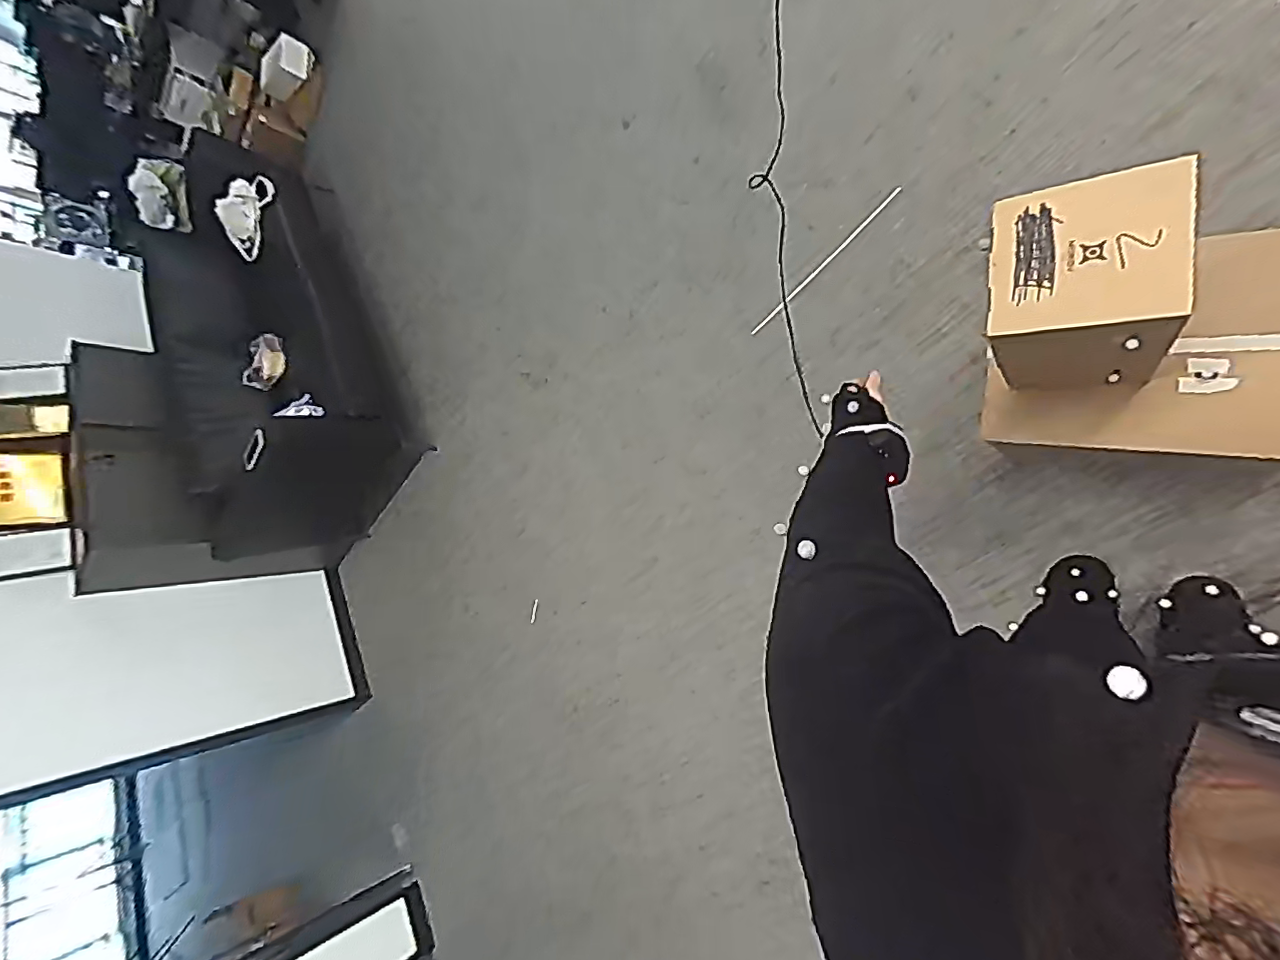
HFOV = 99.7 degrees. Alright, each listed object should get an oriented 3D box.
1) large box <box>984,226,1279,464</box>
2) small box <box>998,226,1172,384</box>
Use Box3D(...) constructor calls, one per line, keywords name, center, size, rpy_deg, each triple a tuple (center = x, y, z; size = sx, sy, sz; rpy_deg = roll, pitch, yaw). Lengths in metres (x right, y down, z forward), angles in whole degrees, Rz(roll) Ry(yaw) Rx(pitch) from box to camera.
Box3D(name="large box", center=(0.856, -0.202, 0.929), size=(0.408, 0.320, 0.320), rpy_deg=(8, 95, 38))
Box3D(name="small box", center=(0.640, -0.239, 0.789), size=(0.179, 0.176, 0.168), rpy_deg=(4, 89, 39))
